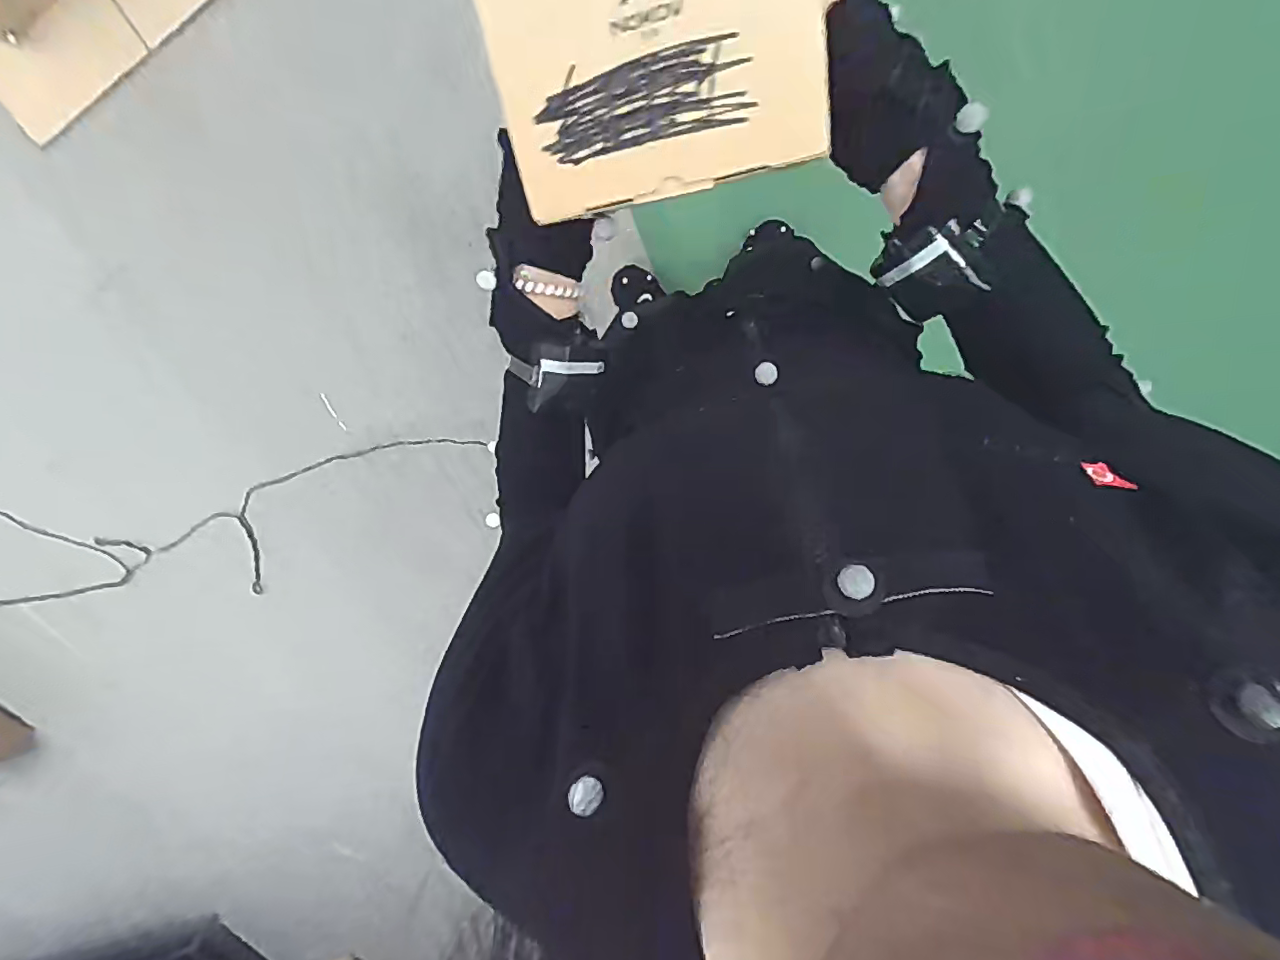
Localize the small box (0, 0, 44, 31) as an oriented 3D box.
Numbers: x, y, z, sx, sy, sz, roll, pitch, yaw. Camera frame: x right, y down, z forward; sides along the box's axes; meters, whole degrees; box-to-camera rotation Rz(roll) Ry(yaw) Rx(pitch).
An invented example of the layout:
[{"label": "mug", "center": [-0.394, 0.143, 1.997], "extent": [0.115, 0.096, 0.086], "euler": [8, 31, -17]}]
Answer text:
[{"label": "small box", "center": [-1.366, -1.042, 1.073], "extent": [0.168, 0.176, 0.179], "euler": [-26, 110, 15]}]
